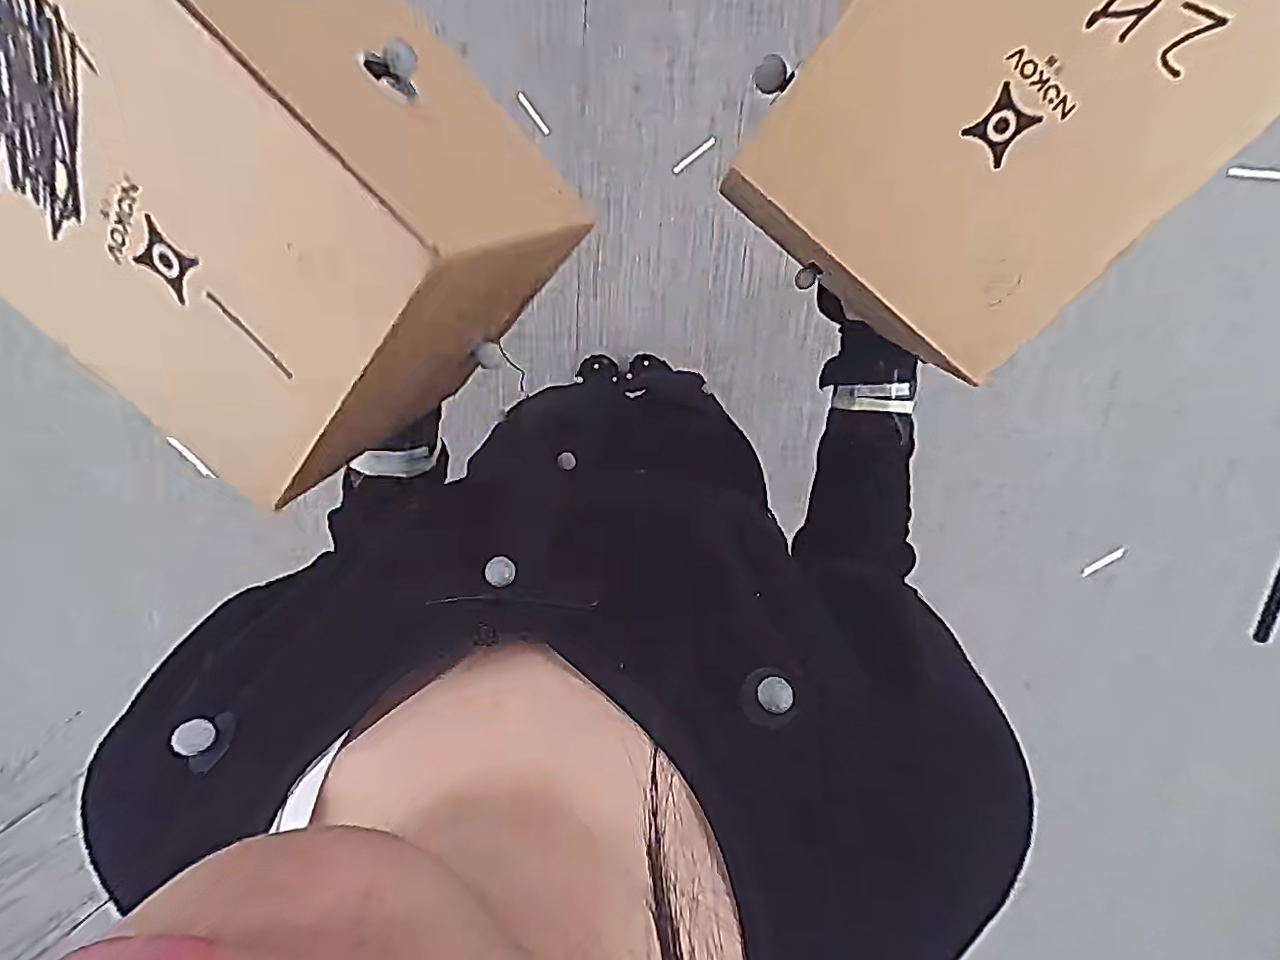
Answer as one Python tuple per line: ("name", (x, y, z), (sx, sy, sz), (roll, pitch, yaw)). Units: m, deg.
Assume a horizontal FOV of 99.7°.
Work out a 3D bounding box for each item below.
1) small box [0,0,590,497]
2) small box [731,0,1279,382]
("small box", (-0.155, -0.131, 0.268), (0.179, 0.176, 0.168), (44, 121, -11))
("small box", (0.166, -0.187, 0.301), (0.168, 0.176, 0.179), (36, 112, -11))
